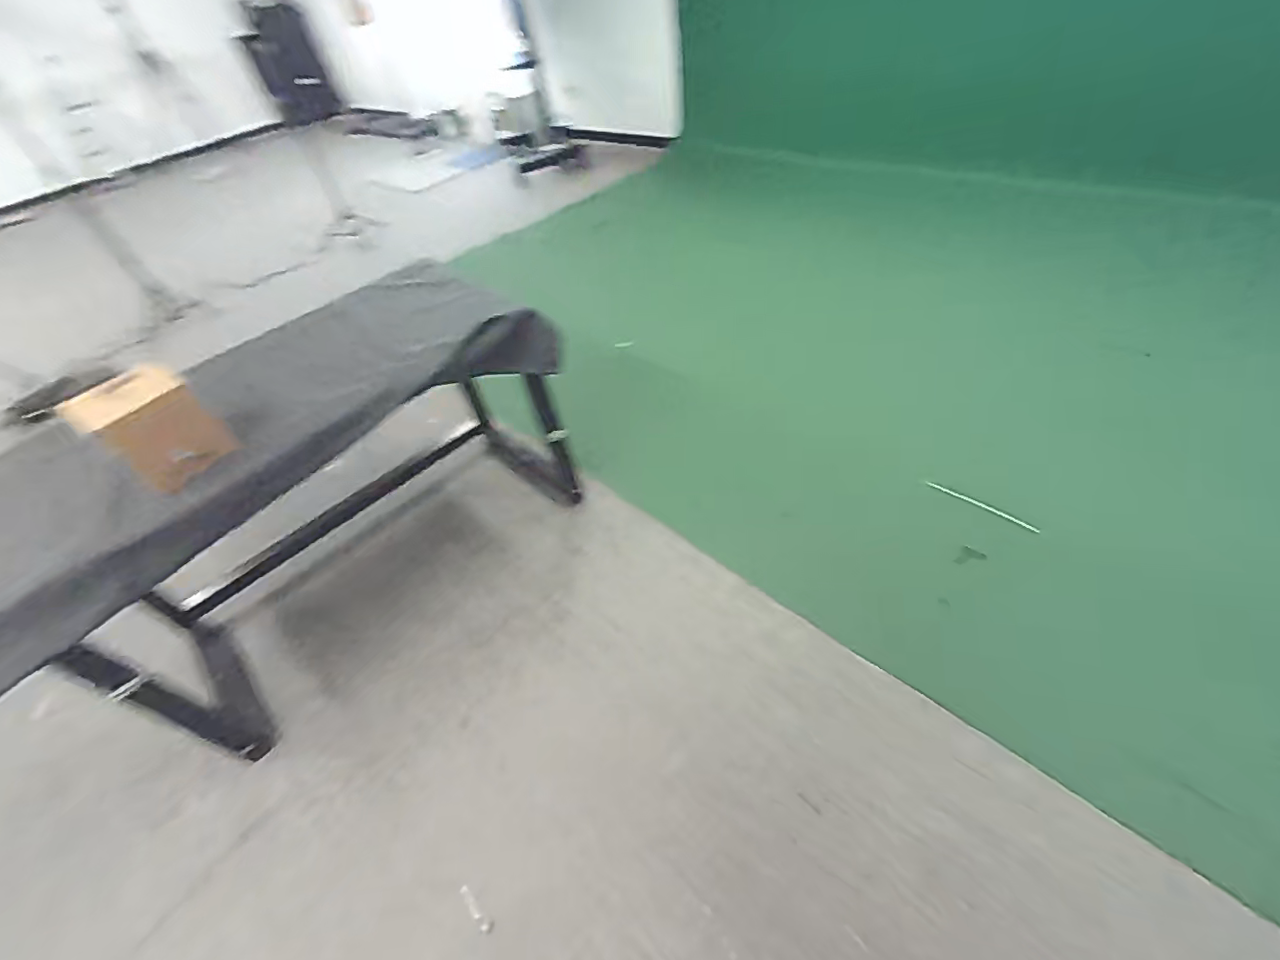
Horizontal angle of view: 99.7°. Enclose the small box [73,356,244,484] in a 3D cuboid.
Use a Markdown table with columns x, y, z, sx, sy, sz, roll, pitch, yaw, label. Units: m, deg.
| x | y | z | sx | sy | sz | roll | pitch | yaw | label |
| --- | --- | --- | --- | --- | --- | --- | --- | --- | --- |
| -0.952 | -0.118 | 1.081 | 0.179 | 0.176 | 0.168 | 23 | 55 | 29 | small box |
